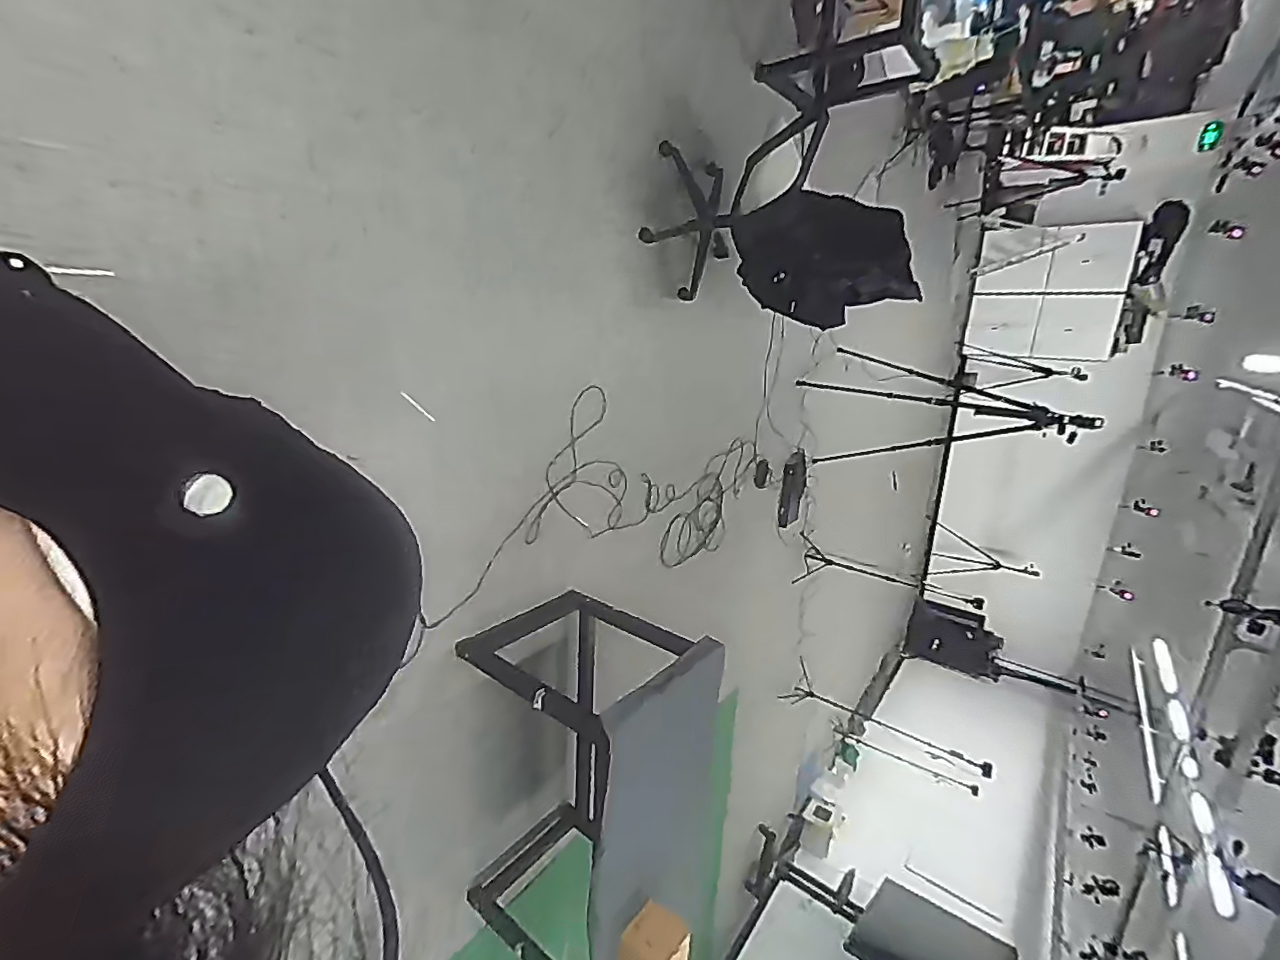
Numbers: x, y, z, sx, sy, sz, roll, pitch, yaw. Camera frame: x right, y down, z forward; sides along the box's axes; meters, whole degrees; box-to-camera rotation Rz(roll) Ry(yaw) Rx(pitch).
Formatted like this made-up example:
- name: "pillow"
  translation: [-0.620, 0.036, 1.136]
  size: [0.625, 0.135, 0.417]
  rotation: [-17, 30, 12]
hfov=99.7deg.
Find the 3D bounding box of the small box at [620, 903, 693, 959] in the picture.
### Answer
- name: "small box"
  translation: [0.048, 1.507, 1.726]
  size: [0.168, 0.176, 0.179]
  rotation: [-10, 110, -51]
